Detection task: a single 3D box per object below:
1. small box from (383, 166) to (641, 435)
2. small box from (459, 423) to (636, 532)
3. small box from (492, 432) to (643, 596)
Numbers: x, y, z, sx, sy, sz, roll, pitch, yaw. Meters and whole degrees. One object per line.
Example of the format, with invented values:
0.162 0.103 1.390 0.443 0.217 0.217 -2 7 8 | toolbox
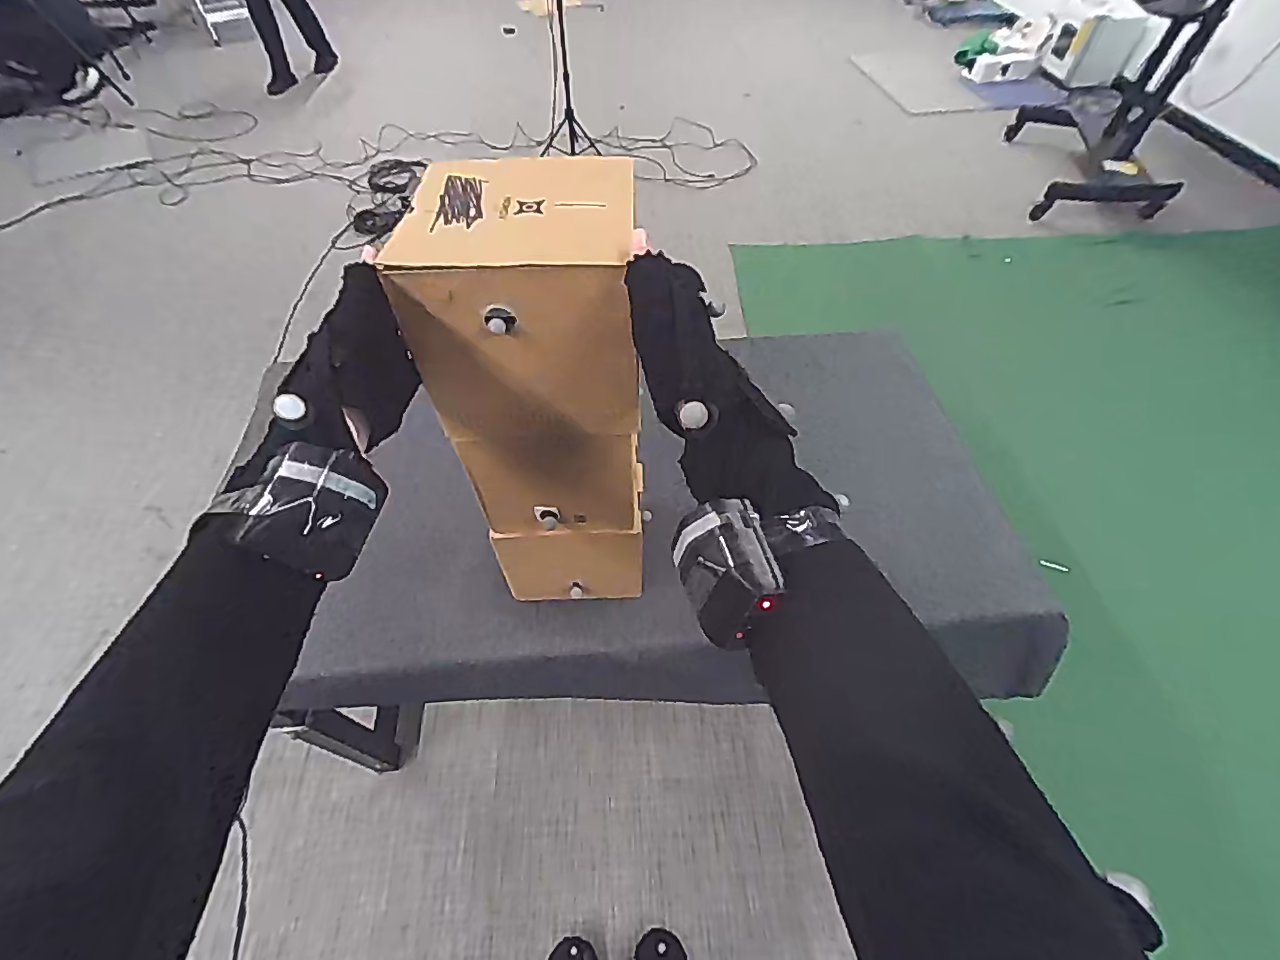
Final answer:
-0.088 -0.153 0.478 0.179 0.176 0.168 -1 52 0 | small box
-0.090 -0.058 0.612 0.168 0.176 0.179 -3 54 -1 | small box
-0.088 0.048 0.735 0.179 0.176 0.168 -1 52 -2 | small box
